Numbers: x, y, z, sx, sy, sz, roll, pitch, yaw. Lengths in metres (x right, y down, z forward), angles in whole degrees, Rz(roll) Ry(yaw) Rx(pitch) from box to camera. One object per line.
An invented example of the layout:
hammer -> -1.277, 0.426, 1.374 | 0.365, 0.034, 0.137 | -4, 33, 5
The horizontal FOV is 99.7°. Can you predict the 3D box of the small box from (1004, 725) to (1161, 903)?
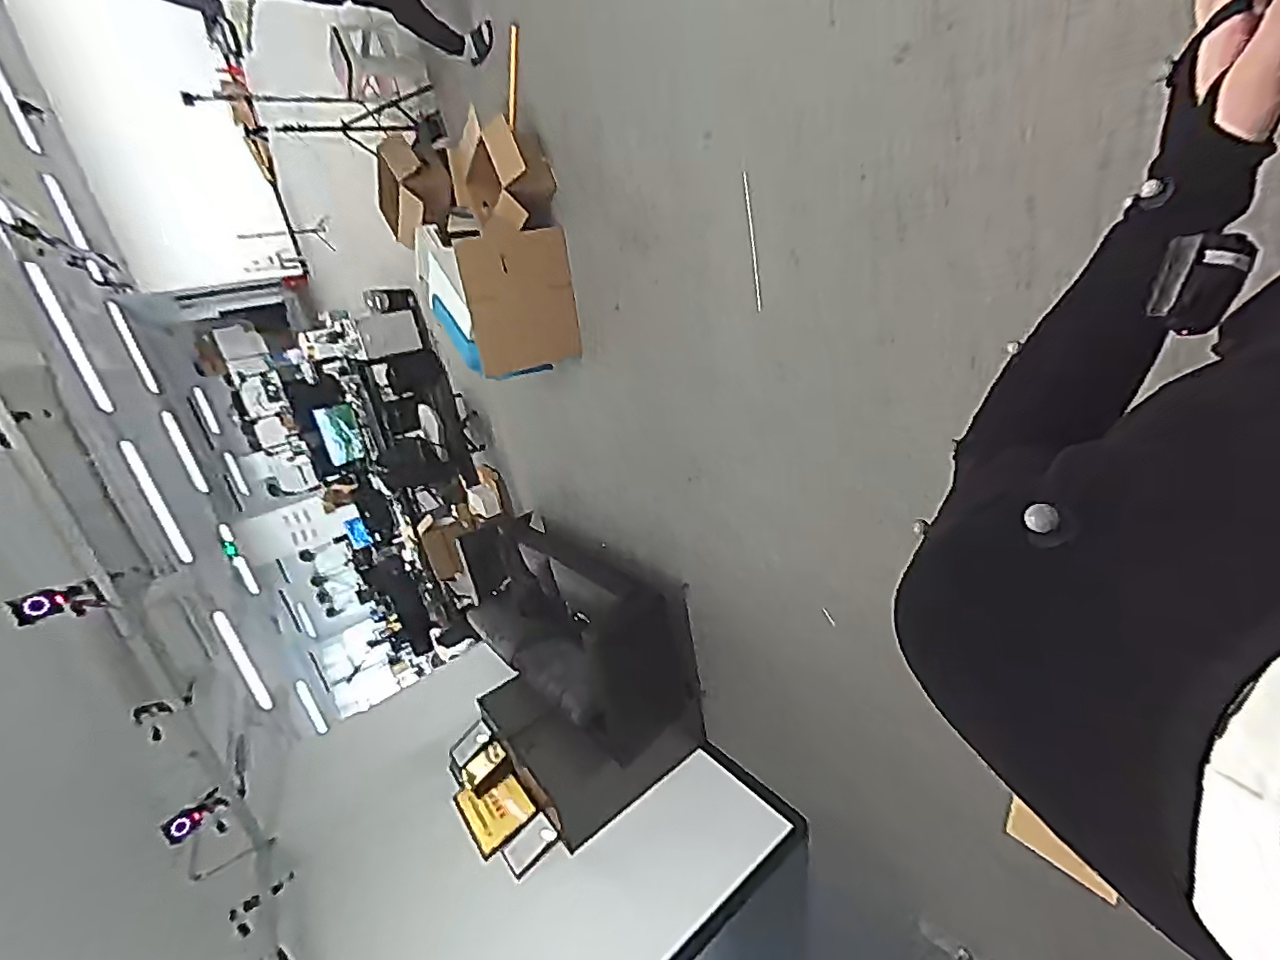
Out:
small box -> 0.792, 0.585, 0.971 | 0.168, 0.176, 0.179 | 23, 130, 49
